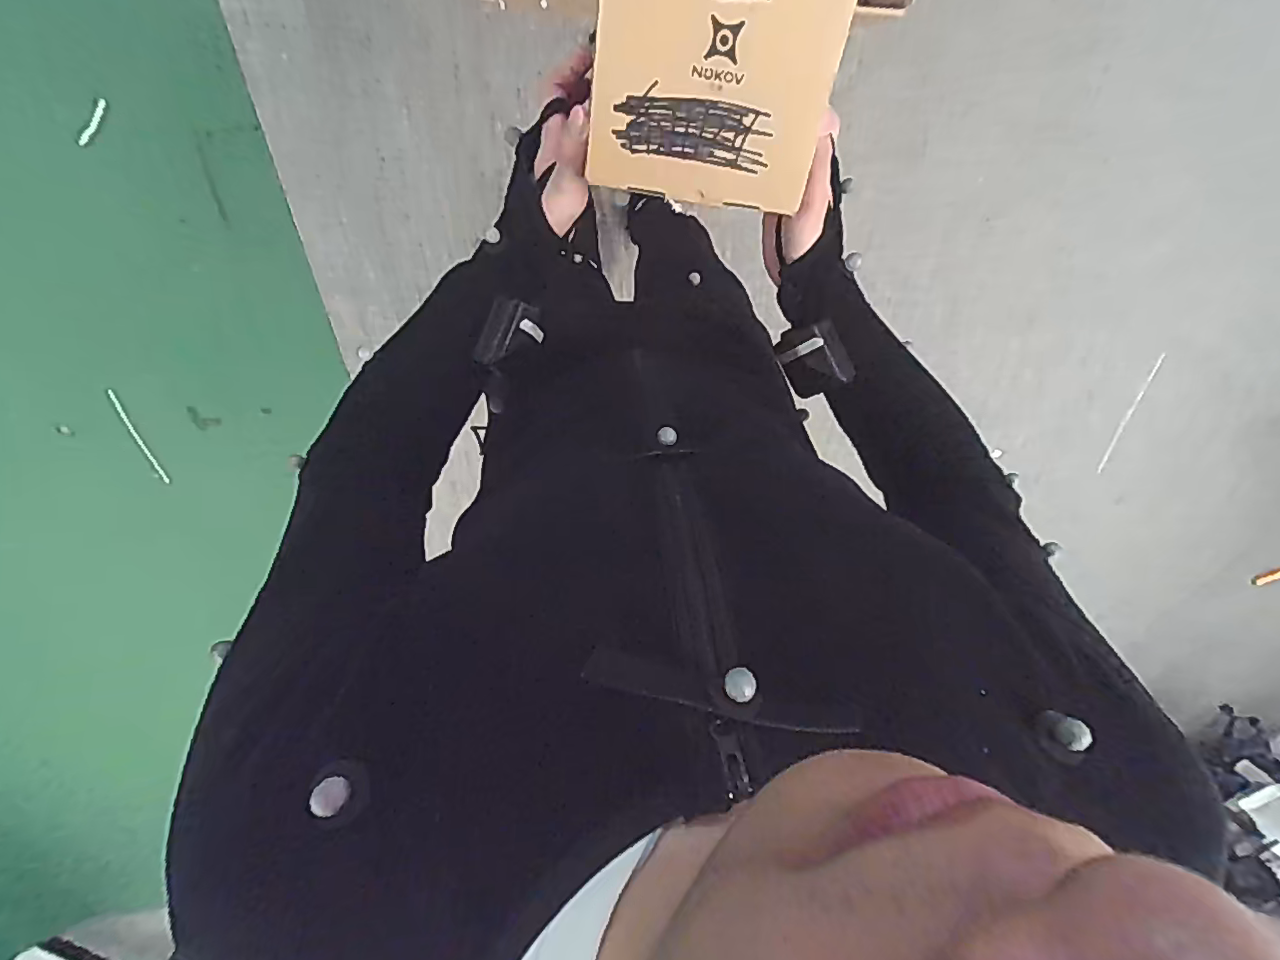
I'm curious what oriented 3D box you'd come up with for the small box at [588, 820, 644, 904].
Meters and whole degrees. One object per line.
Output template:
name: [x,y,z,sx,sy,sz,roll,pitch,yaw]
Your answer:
small box: [-0.074,1.188,1.684,0.168,0.176,0.179,-4,127,-3]
